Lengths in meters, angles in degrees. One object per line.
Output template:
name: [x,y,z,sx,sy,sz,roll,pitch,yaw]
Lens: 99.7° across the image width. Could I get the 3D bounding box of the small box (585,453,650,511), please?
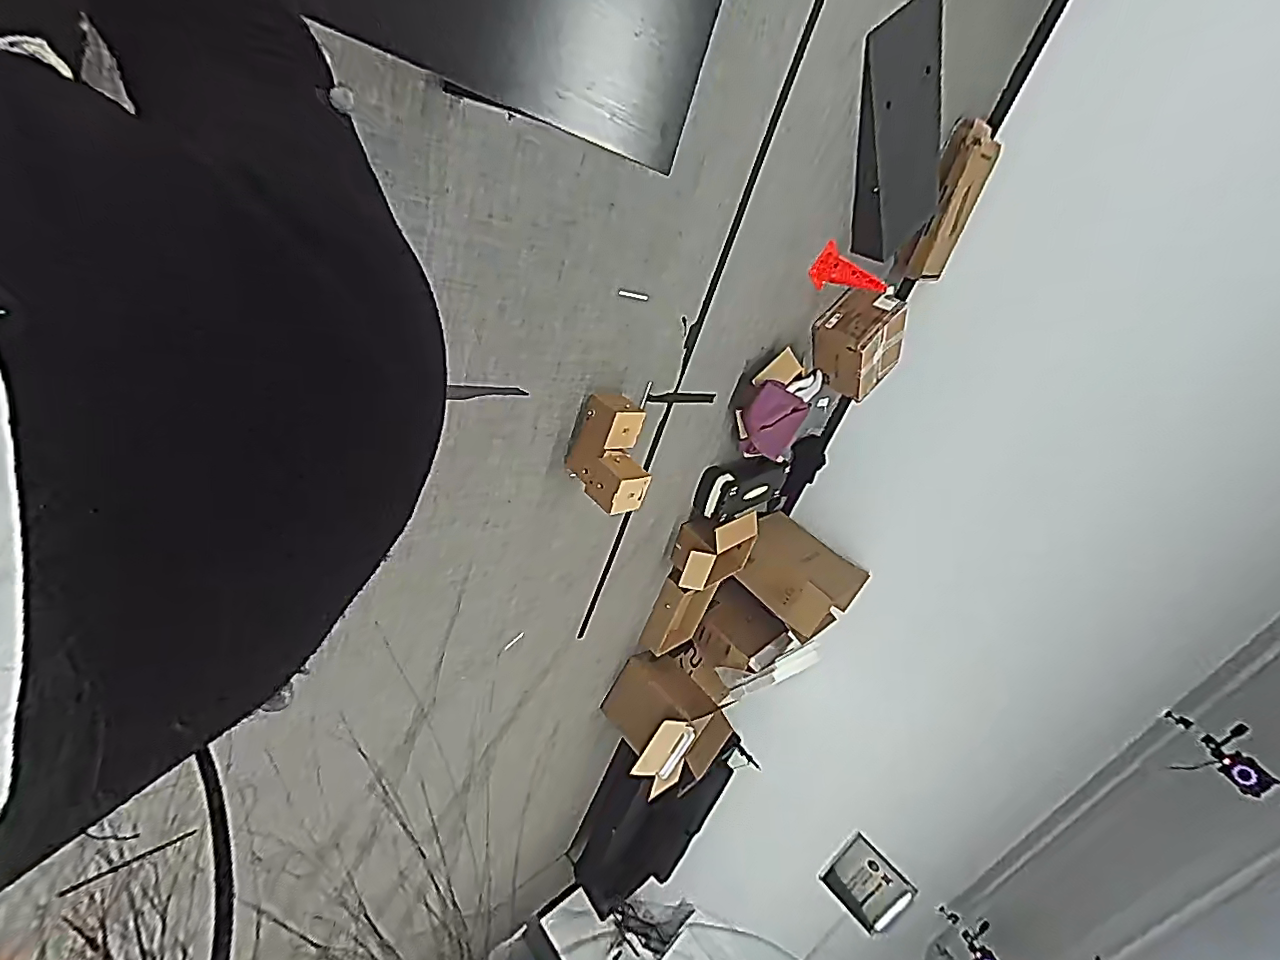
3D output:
small box: [-0.096,0.004,2.188,0.179,0.176,0.168,-8,128,-46]
